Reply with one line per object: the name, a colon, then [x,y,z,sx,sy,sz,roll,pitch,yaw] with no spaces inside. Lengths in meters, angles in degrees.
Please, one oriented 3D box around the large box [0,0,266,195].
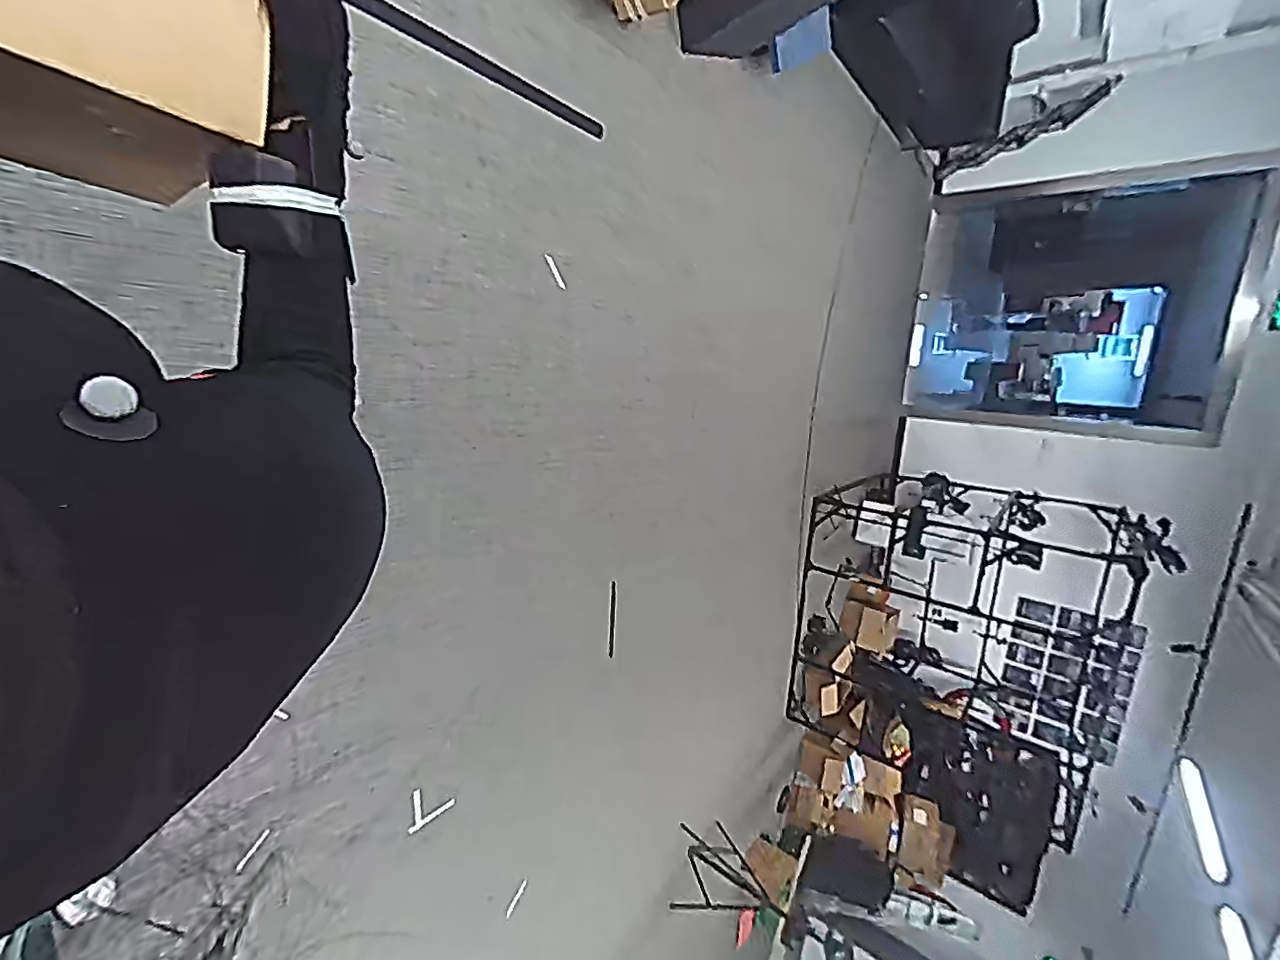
large box: [-0.485,-0.407,0.296,0.408,0.320,0.320,-1,103,-51]
